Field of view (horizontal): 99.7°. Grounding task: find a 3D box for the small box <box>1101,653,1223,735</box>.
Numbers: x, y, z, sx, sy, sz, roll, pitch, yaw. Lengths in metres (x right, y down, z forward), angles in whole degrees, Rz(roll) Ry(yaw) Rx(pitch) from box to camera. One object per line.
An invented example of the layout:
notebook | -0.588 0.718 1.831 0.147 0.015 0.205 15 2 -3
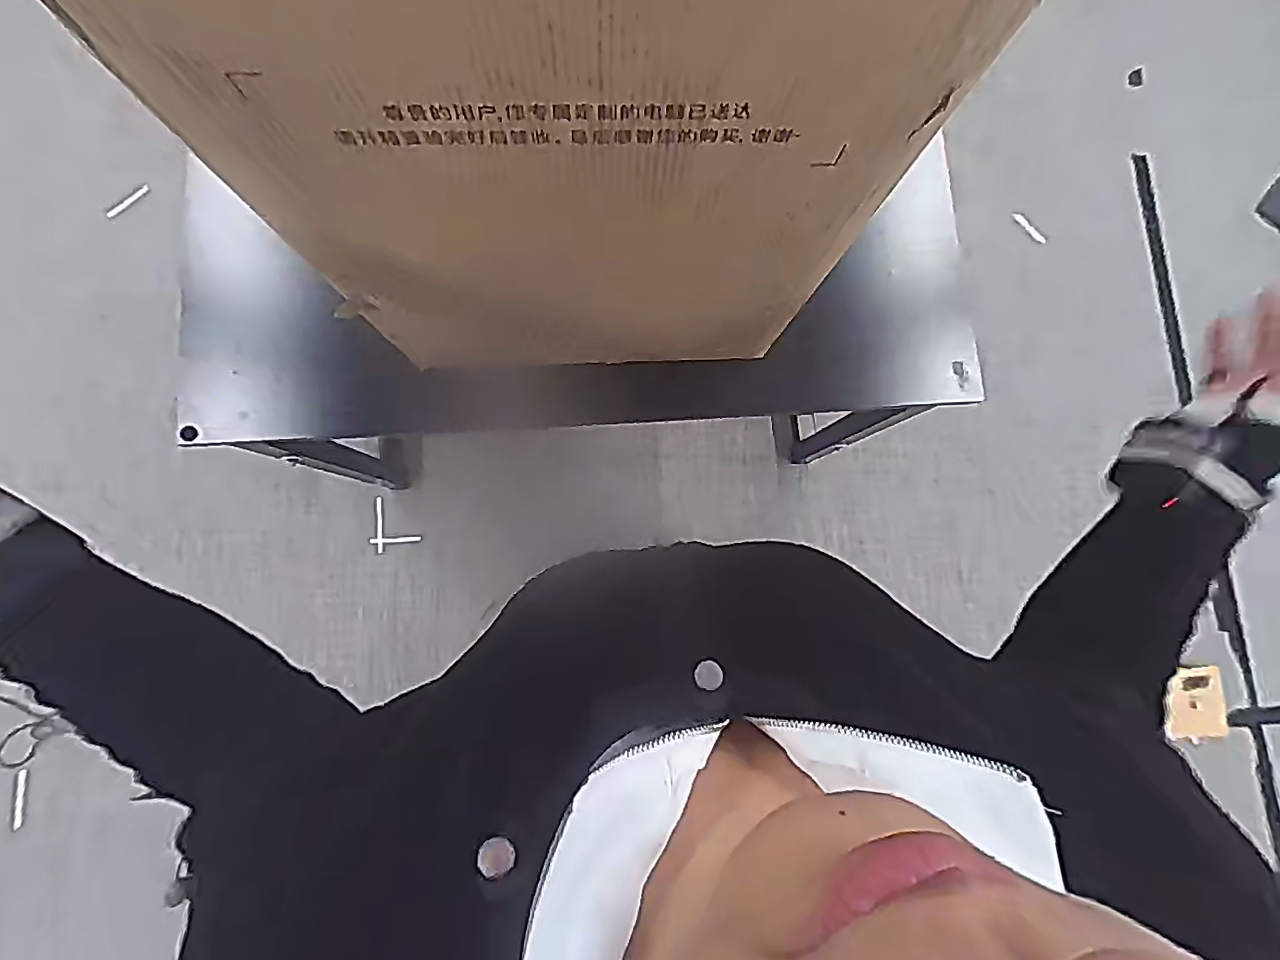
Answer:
small box | 1.402 0.570 1.465 0.168 0.176 0.179 0 84 -3
